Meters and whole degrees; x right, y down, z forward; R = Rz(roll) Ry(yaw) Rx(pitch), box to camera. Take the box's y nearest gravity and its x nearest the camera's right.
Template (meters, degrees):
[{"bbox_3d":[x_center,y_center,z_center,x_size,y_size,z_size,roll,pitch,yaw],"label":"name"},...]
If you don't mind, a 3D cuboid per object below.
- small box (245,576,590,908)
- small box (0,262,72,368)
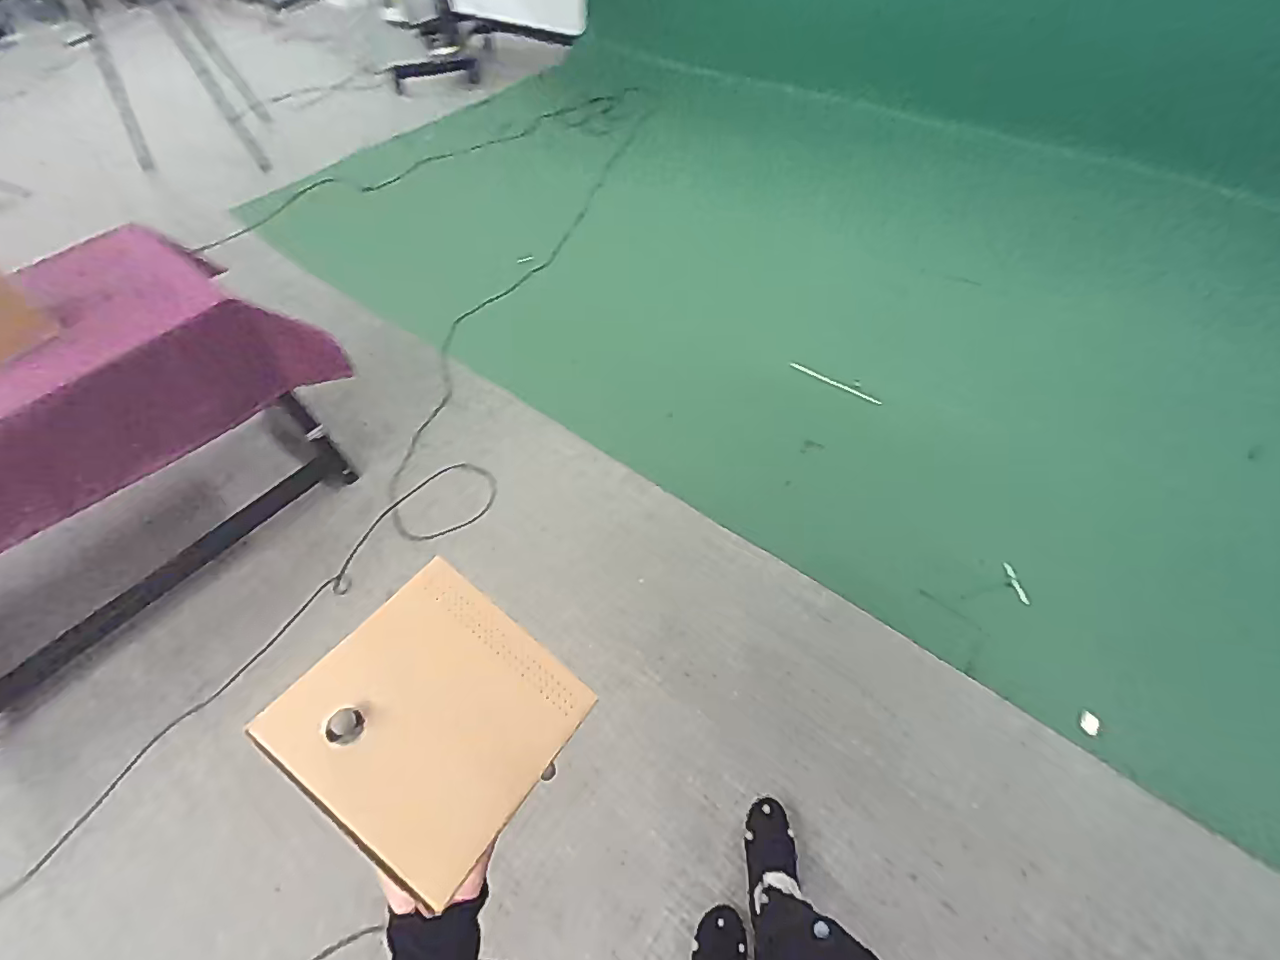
[{"bbox_3d":[-0.171,0.202,0.458,0.179,0.168,0.176,37,58,4],"label":"small box"},{"bbox_3d":[-1.441,-0.371,1.193,0.168,0.176,0.179,33,62,23],"label":"small box"}]
